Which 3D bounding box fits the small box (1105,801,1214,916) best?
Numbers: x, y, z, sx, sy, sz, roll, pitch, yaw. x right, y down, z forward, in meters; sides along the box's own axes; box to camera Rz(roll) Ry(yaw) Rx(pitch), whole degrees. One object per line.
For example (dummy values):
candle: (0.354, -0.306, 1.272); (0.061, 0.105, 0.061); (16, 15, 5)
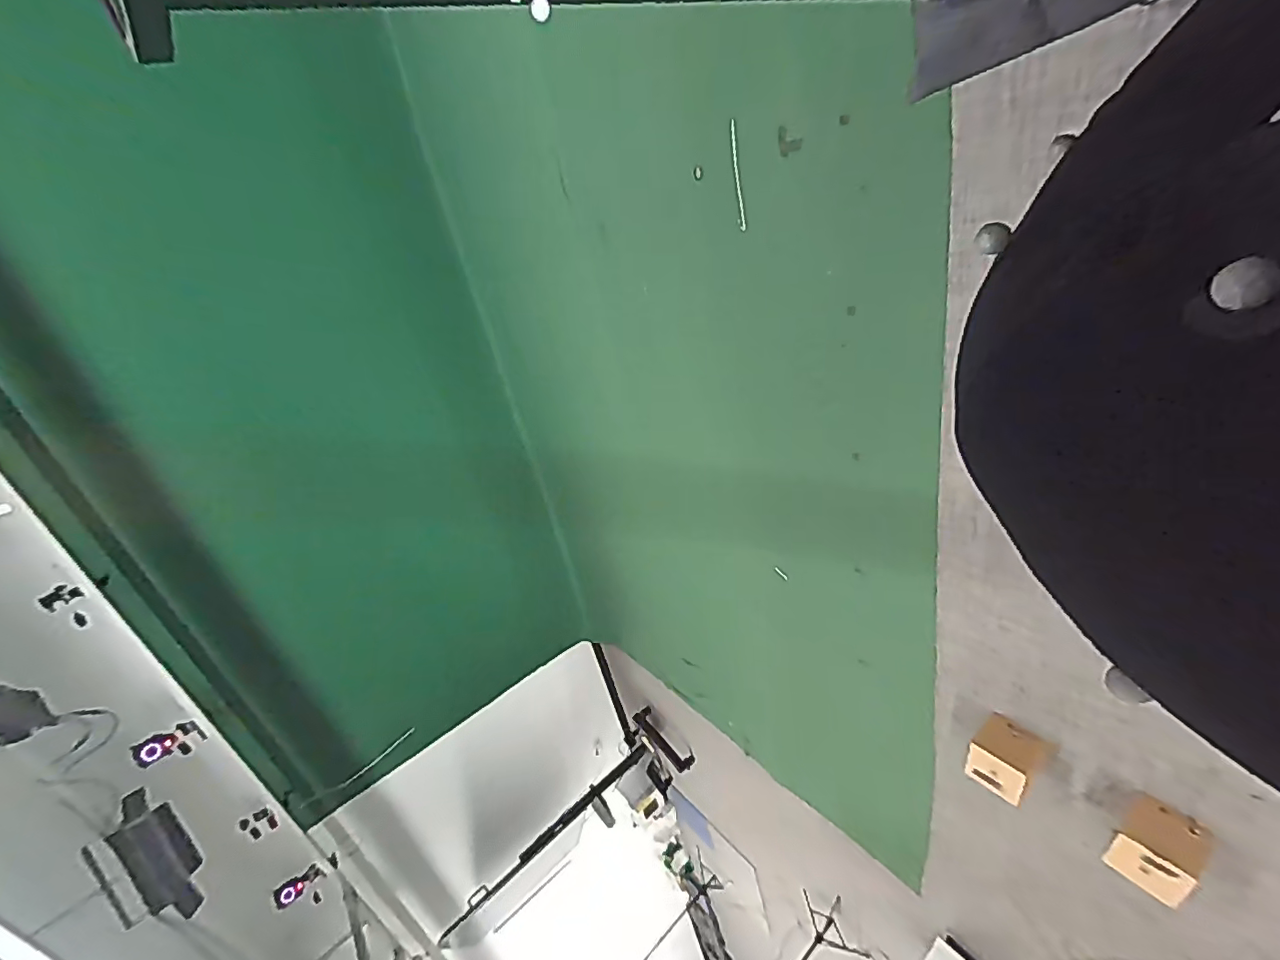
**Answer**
small box: (1.465, 1.059, 1.525); (0.168, 0.176, 0.179); (29, 139, 45)
